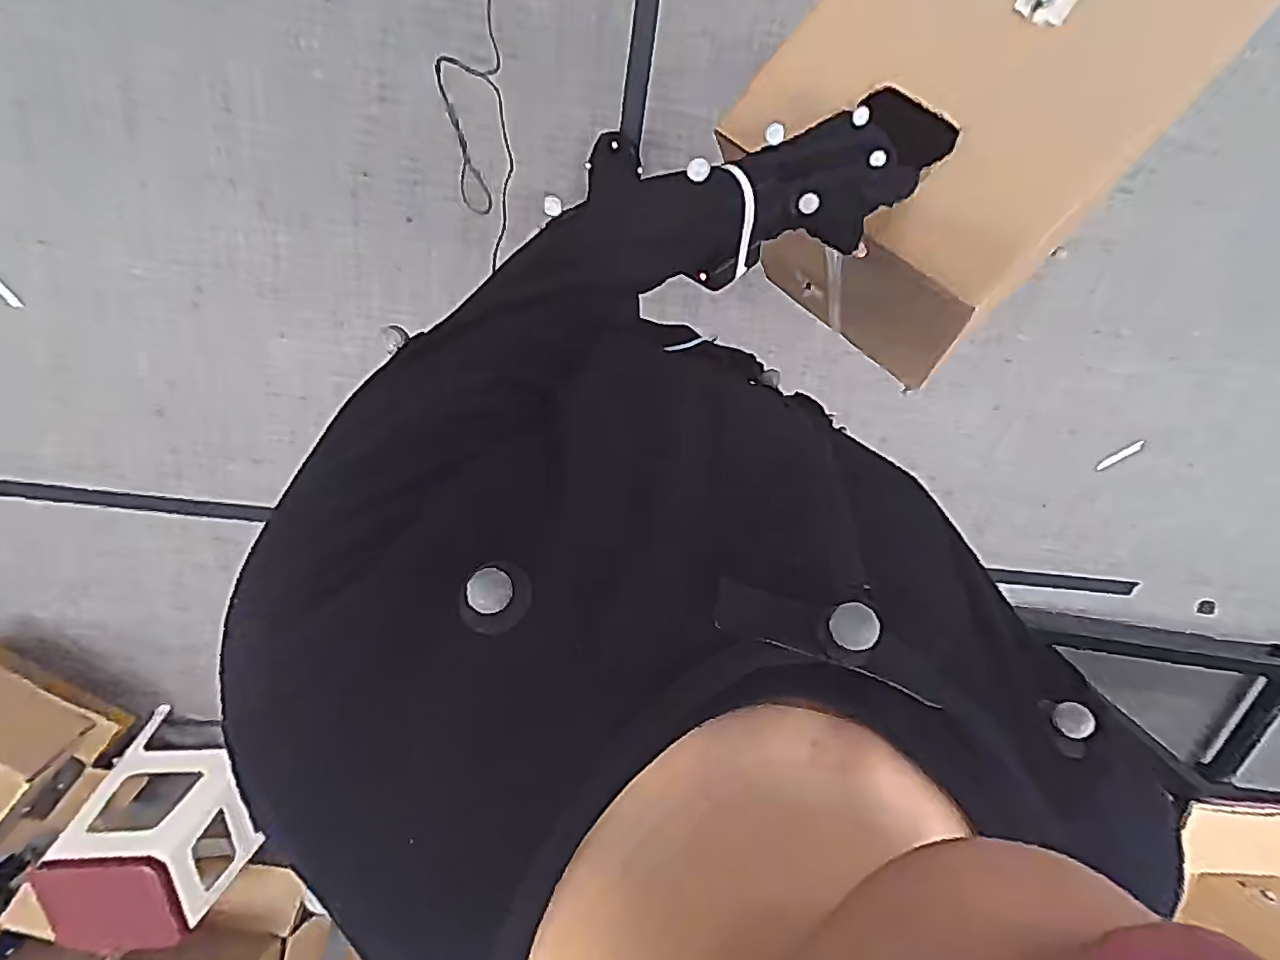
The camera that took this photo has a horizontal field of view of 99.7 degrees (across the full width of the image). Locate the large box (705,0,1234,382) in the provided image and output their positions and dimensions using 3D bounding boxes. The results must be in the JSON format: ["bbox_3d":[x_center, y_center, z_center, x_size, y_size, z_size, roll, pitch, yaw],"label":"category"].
[{"bbox_3d":[0.338,-0.366,0.653,0.320,0.408,0.320,46,105,17],"label":"large box"}]
